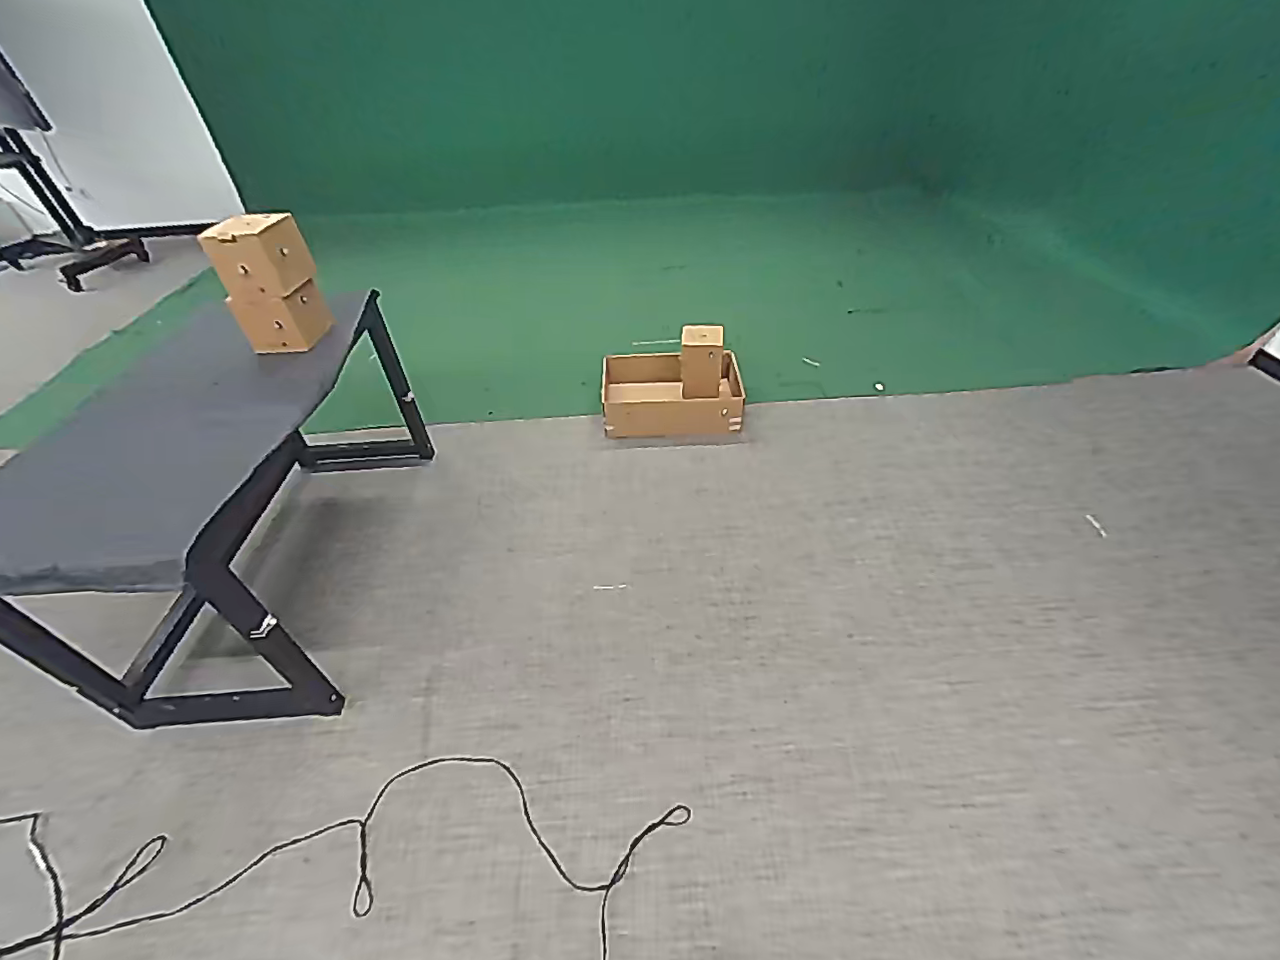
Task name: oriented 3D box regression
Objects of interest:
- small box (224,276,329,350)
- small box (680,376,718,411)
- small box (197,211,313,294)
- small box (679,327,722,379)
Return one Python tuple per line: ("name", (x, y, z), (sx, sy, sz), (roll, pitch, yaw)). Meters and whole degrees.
("small box", (-1.061, -0.496, 1.598), (0.168, 0.176, 0.179), (-1, 42, 2))
("small box", (0.268, -0.435, 2.473), (0.168, 0.176, 0.179), (2, 45, 6))
("small box", (-1.050, -0.625, 1.496), (0.168, 0.176, 0.179), (1, 43, 4))
("small box", (0.263, -0.551, 2.357), (0.179, 0.176, 0.168), (2, 44, 6))
